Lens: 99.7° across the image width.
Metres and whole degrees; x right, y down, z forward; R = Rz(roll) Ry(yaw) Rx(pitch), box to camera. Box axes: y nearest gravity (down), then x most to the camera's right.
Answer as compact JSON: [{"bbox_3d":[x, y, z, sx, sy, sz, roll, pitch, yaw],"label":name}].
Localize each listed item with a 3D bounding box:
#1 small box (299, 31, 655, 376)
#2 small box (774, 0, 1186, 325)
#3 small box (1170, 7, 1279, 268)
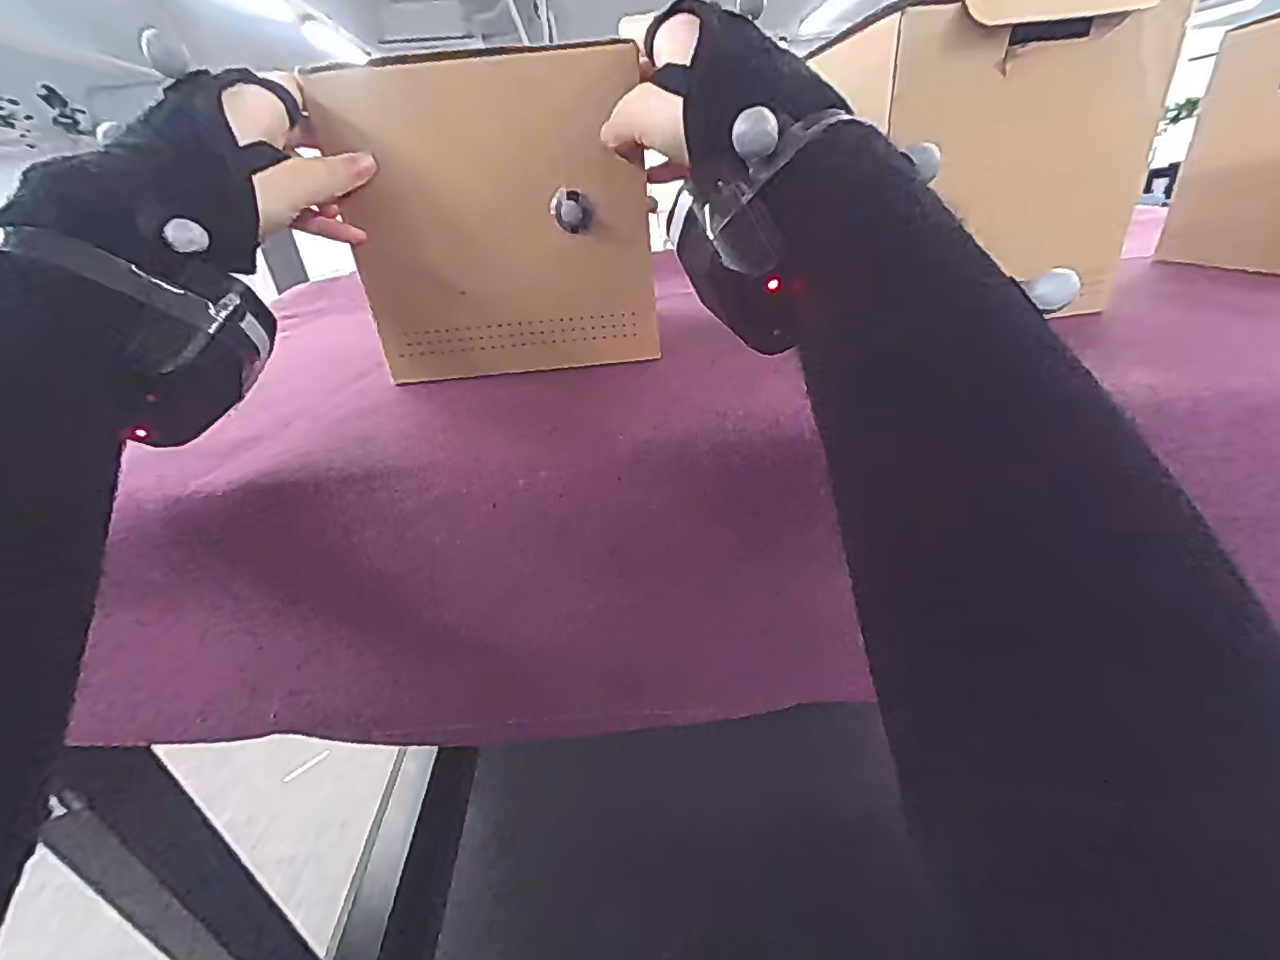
[{"bbox_3d":[-0.082,-0.180,0.377,0.179,0.176,0.168,-6,27,0],"label":"small box"},{"bbox_3d":[0.201,-0.209,0.377,0.168,0.176,0.179,-8,27,-5],"label":"small box"},{"bbox_3d":[0.532,-0.238,0.366,0.168,0.176,0.179,-5,27,3],"label":"small box"}]
